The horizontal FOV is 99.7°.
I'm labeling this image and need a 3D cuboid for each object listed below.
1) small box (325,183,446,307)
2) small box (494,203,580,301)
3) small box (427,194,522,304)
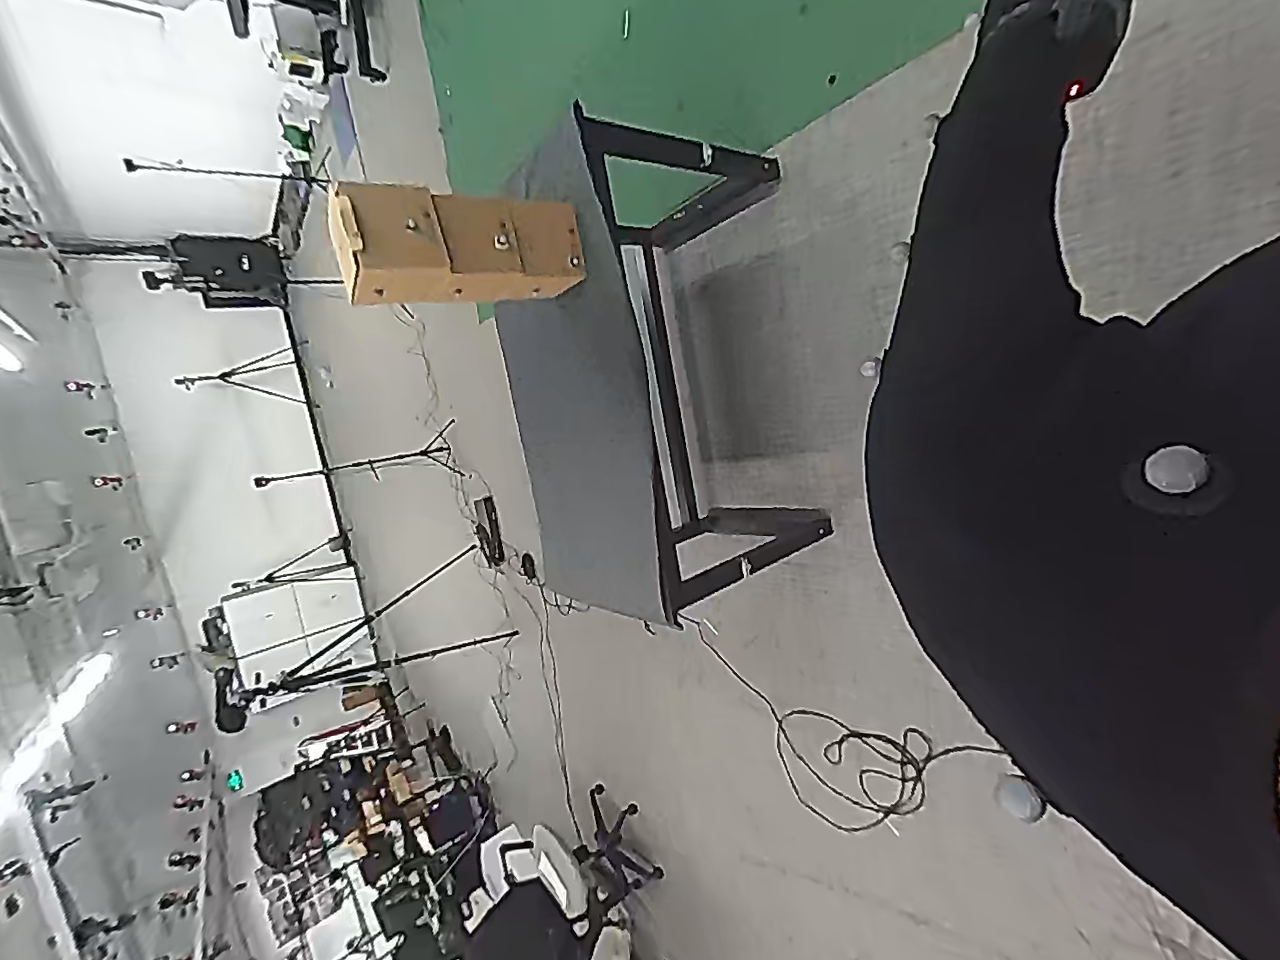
[{"bbox_3d":[-0.503,-0.457,1.073,0.179,0.176,0.168,-13,94,55],"label":"small box"},{"bbox_3d":[-0.255,-0.533,1.273,0.179,0.176,0.168,-1,103,55],"label":"small box"},{"bbox_3d":[-0.379,-0.494,1.176,0.179,0.176,0.168,-8,98,53],"label":"small box"}]
